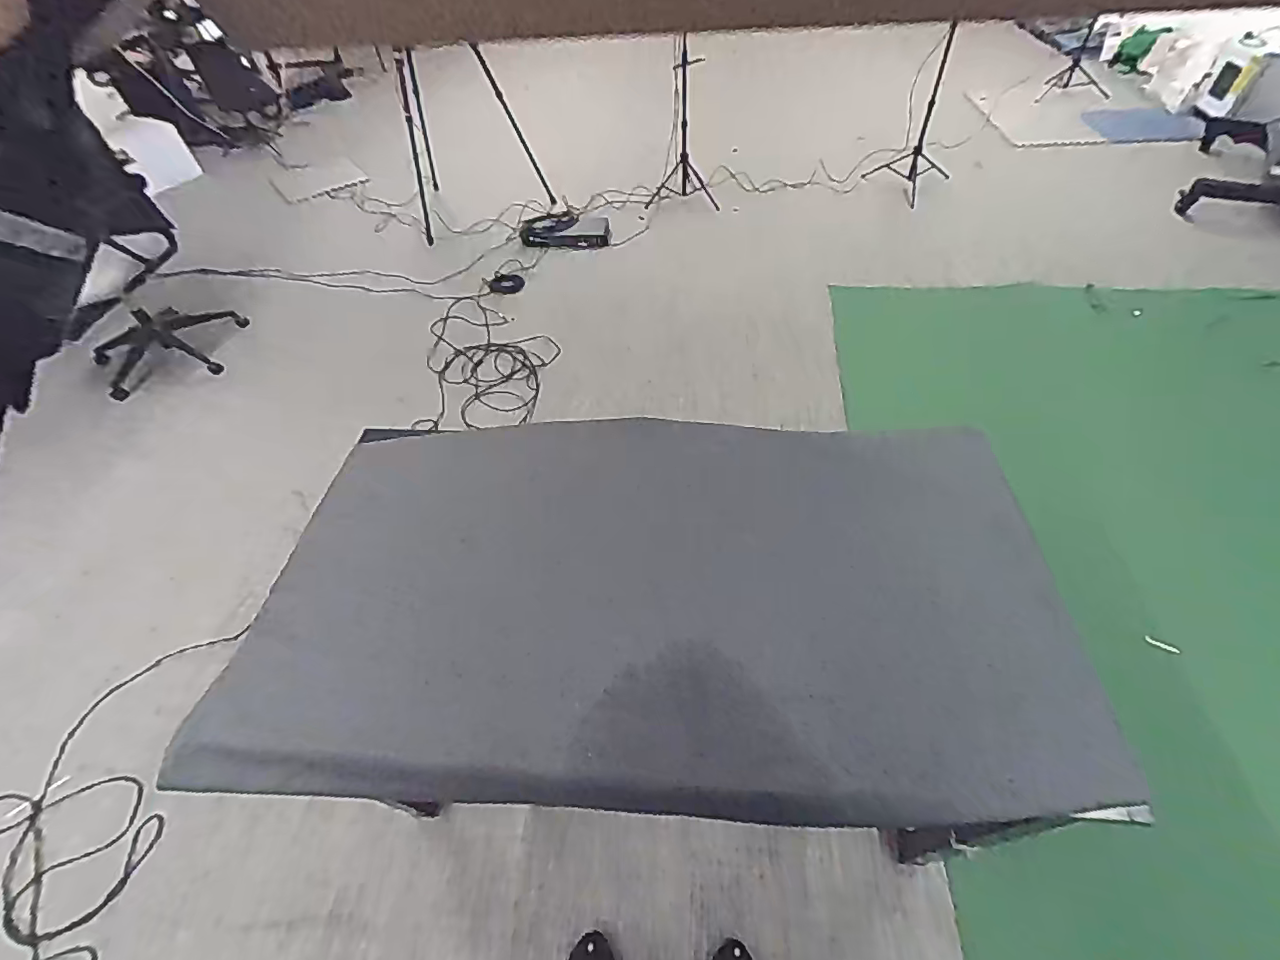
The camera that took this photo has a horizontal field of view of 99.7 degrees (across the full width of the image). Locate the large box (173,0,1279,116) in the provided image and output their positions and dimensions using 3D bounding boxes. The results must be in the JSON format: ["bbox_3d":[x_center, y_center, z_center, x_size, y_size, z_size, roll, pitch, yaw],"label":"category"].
[{"bbox_3d":[0.023,-0.334,0.111,0.408,0.320,0.320,3,78,6],"label":"large box"}]
